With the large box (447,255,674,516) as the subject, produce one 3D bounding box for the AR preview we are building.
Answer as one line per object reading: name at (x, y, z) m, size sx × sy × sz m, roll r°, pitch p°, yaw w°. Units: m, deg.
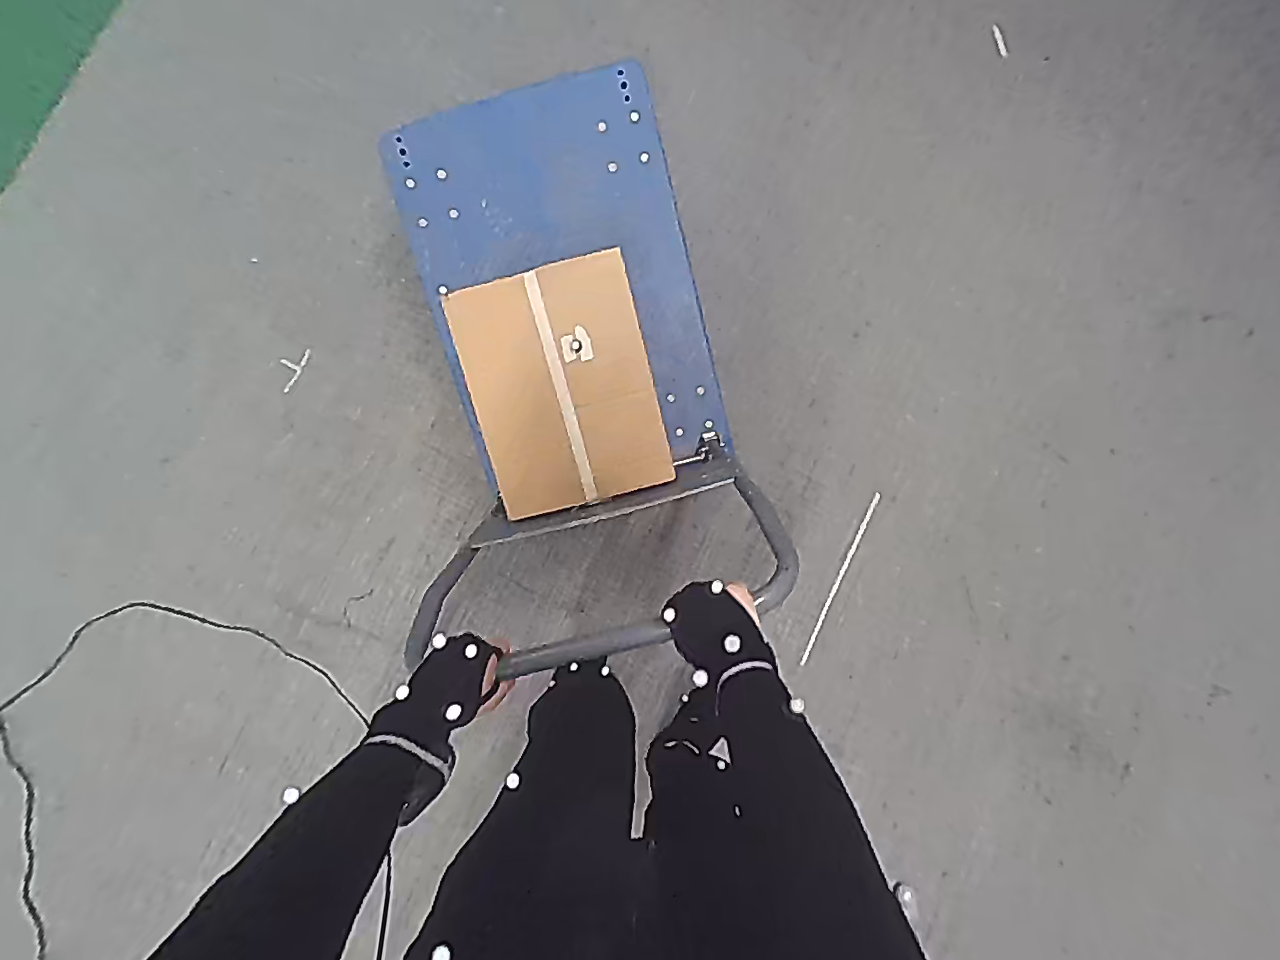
large box at (-0.134, -0.182, 1.105) m, size 0.320 × 0.320 × 0.408 m, roll -15°, pitch 99°, yaw 2°
